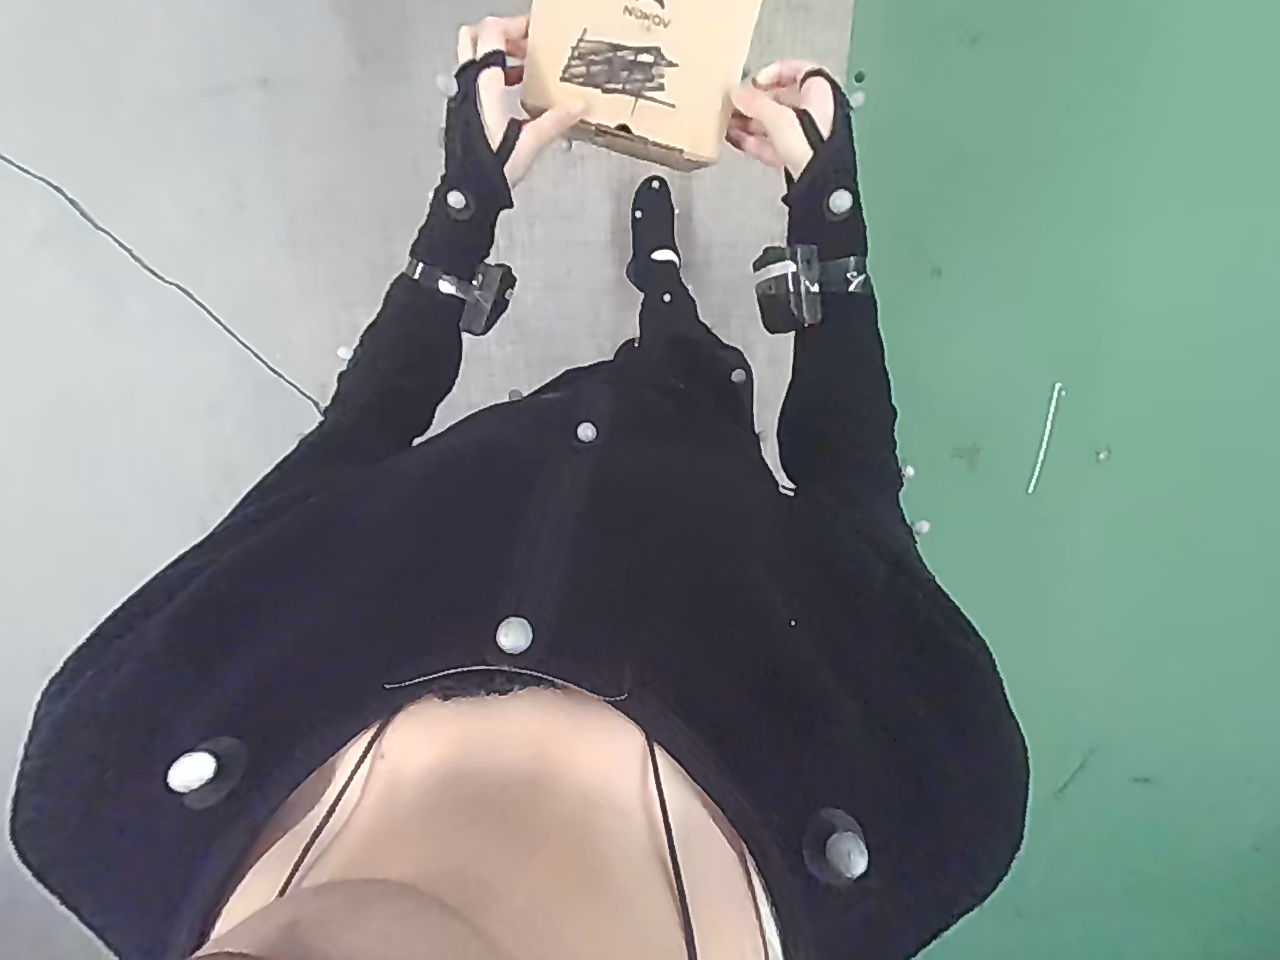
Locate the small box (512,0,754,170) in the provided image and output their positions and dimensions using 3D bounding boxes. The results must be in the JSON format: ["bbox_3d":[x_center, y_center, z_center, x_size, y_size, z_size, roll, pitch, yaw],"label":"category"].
[{"bbox_3d":[-0.005,-0.384,0.466,0.168,0.176,0.179,10,116,-10],"label":"small box"}]
